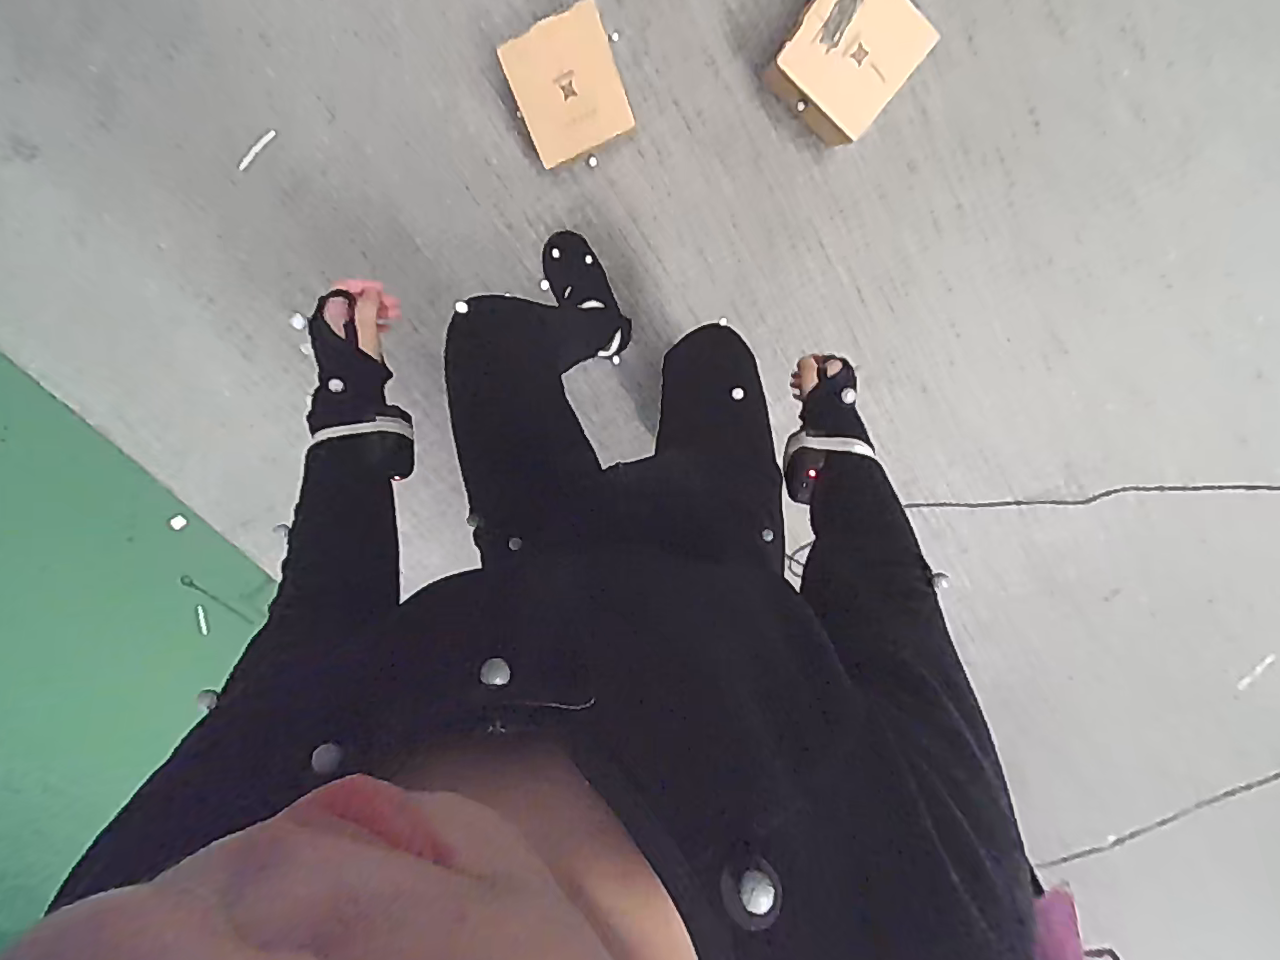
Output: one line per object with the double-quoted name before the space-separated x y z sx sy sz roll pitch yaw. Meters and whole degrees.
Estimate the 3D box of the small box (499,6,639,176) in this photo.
"small box" -0.108 -0.640 0.916 0.168 0.176 0.179 -17 115 13

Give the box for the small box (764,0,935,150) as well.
"small box" 0.322 -0.663 0.874 0.179 0.176 0.168 35 115 -15
